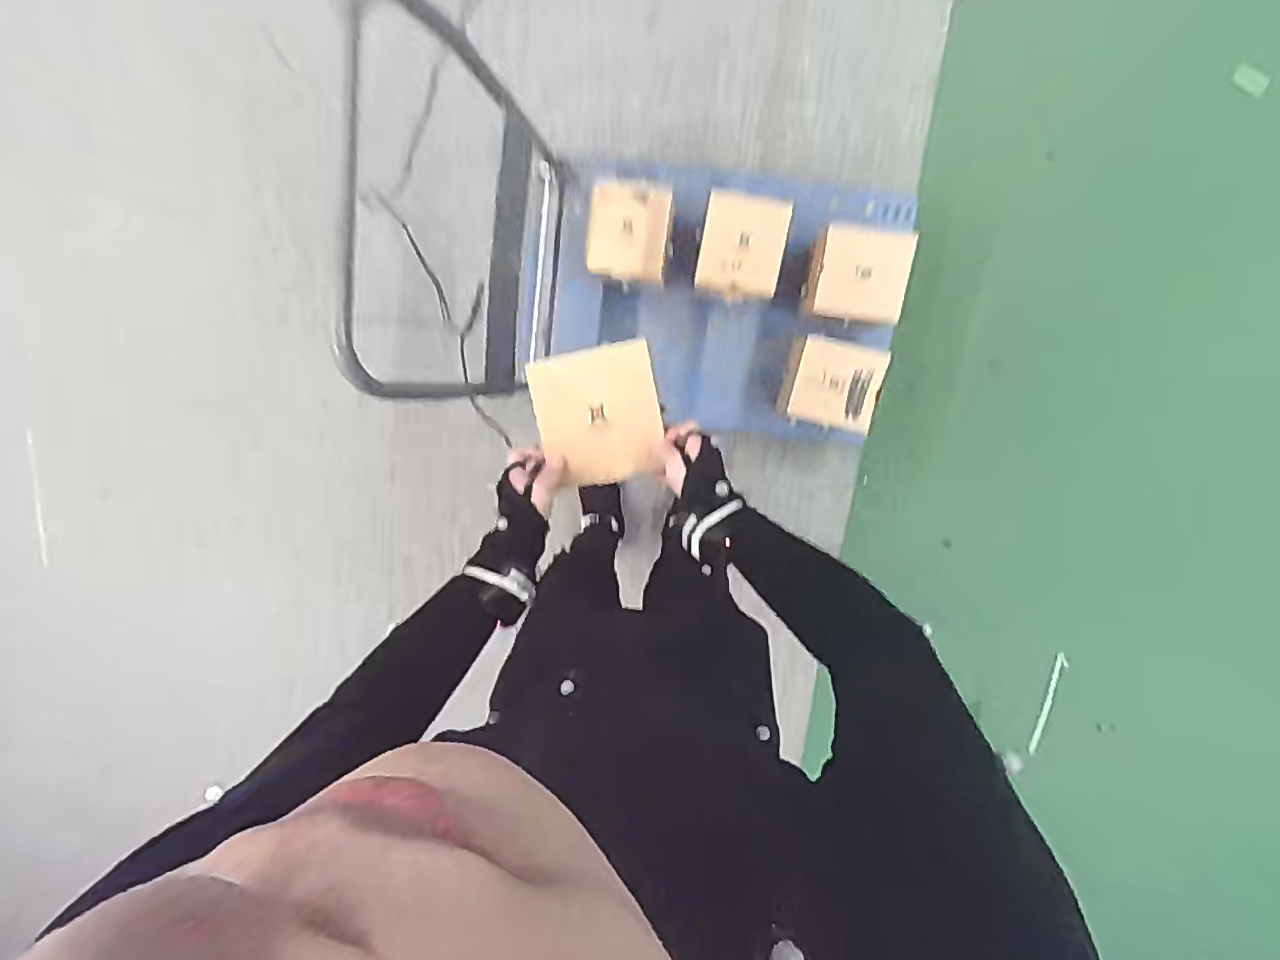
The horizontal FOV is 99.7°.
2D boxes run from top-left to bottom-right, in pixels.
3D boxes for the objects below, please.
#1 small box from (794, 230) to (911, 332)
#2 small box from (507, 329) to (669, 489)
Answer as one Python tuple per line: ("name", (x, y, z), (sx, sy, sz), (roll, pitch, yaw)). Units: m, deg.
("small box", (0.441, -0.418, 1.158), (0.179, 0.176, 0.168), (10, 102, 3))
("small box", (-0.066, -0.104, 0.788), (0.179, 0.176, 0.168), (21, 102, -1))
